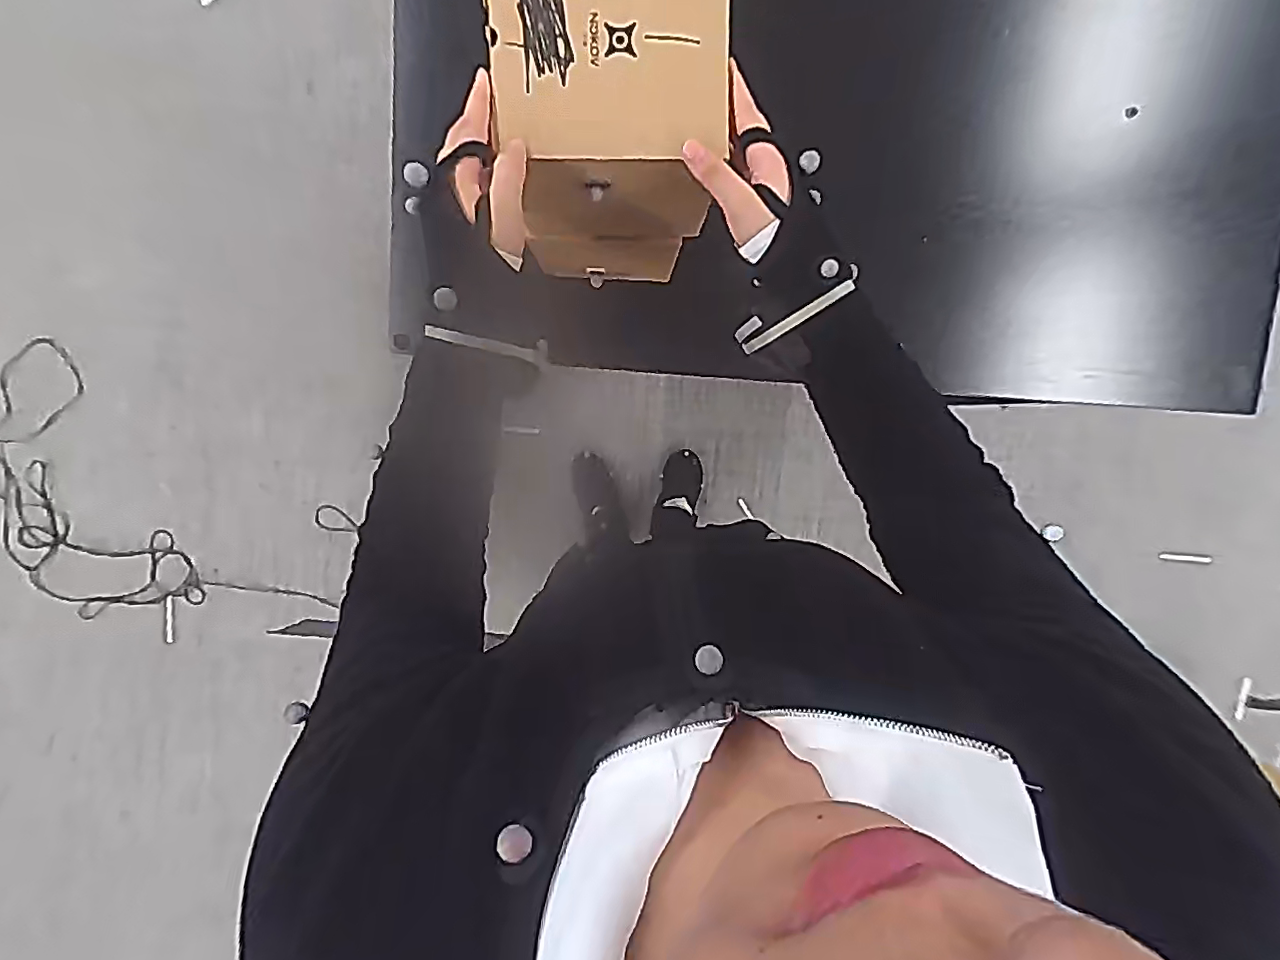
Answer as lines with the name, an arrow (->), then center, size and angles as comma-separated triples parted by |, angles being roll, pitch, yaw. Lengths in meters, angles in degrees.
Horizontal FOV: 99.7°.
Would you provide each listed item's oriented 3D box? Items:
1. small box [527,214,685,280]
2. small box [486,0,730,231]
small box -> -0.035, -0.346, 0.628 | 0.168, 0.176, 0.179 | 1, 98, -1
small box -> -0.024, -0.326, 0.465 | 0.179, 0.176, 0.168 | -1, 97, -2
